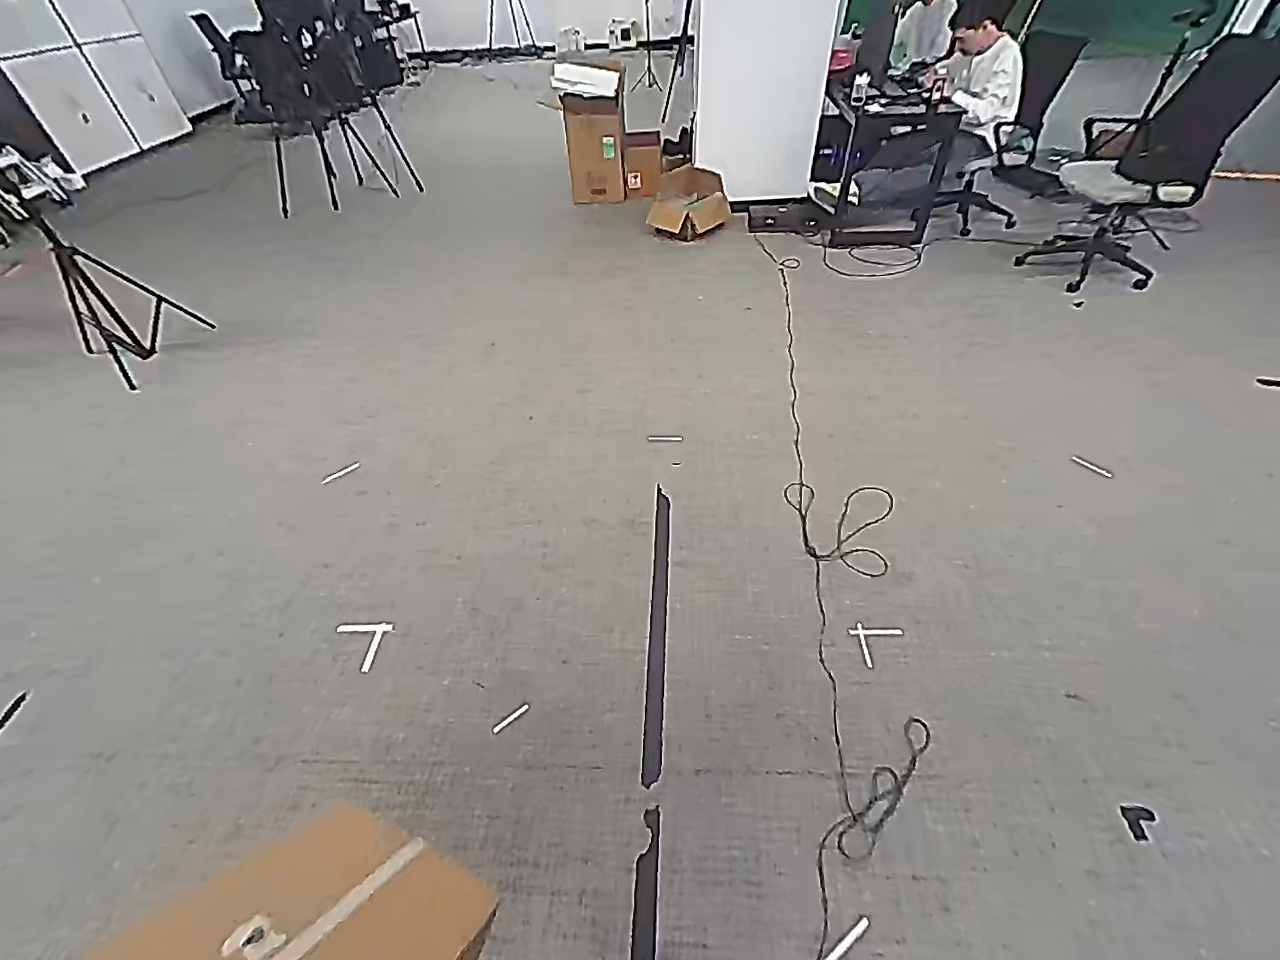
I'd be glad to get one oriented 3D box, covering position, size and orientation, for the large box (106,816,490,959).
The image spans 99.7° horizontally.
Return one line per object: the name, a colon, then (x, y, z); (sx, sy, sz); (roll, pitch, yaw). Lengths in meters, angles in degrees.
large box: (-0.456, 0.721, 0.668); (0.320, 0.408, 0.320); (19, 85, 14)
